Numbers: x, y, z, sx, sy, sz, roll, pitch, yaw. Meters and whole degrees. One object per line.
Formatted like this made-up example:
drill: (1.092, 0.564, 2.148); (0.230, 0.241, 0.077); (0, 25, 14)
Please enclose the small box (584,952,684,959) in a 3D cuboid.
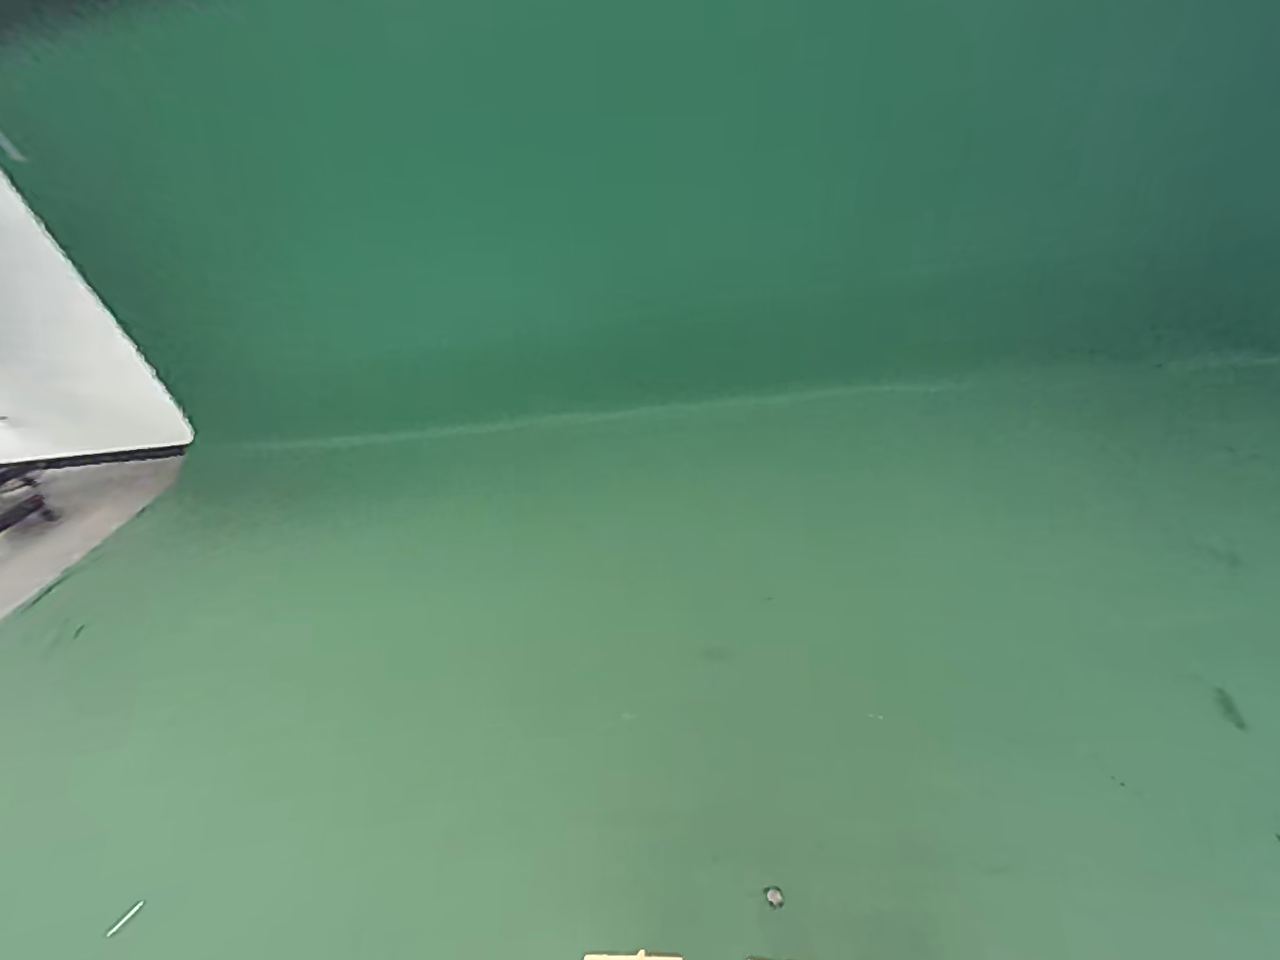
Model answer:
small box: (-0.004, 0.931, 0.914); (0.179, 0.176, 0.168); (-5, 37, 9)
